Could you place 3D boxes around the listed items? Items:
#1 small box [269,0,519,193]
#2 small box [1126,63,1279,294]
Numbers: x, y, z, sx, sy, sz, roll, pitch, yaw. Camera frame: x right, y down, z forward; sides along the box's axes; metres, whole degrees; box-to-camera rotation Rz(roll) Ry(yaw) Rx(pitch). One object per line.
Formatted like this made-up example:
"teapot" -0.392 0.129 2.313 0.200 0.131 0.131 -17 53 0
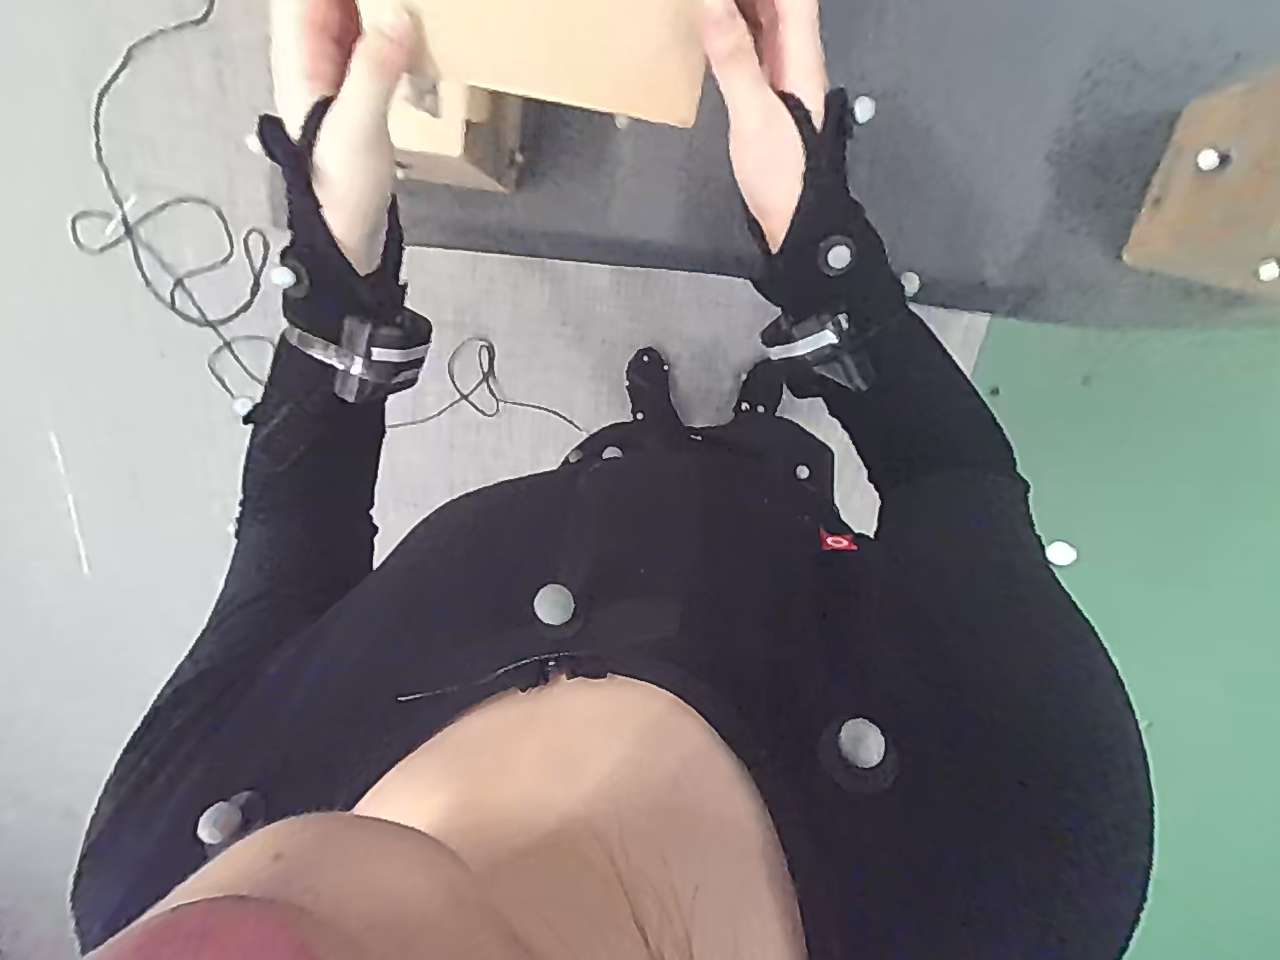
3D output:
"small box" -0.230 -0.401 0.545 0.179 0.176 0.168 9 108 1
"small box" 0.638 -0.284 0.517 0.179 0.176 0.168 14 104 1
